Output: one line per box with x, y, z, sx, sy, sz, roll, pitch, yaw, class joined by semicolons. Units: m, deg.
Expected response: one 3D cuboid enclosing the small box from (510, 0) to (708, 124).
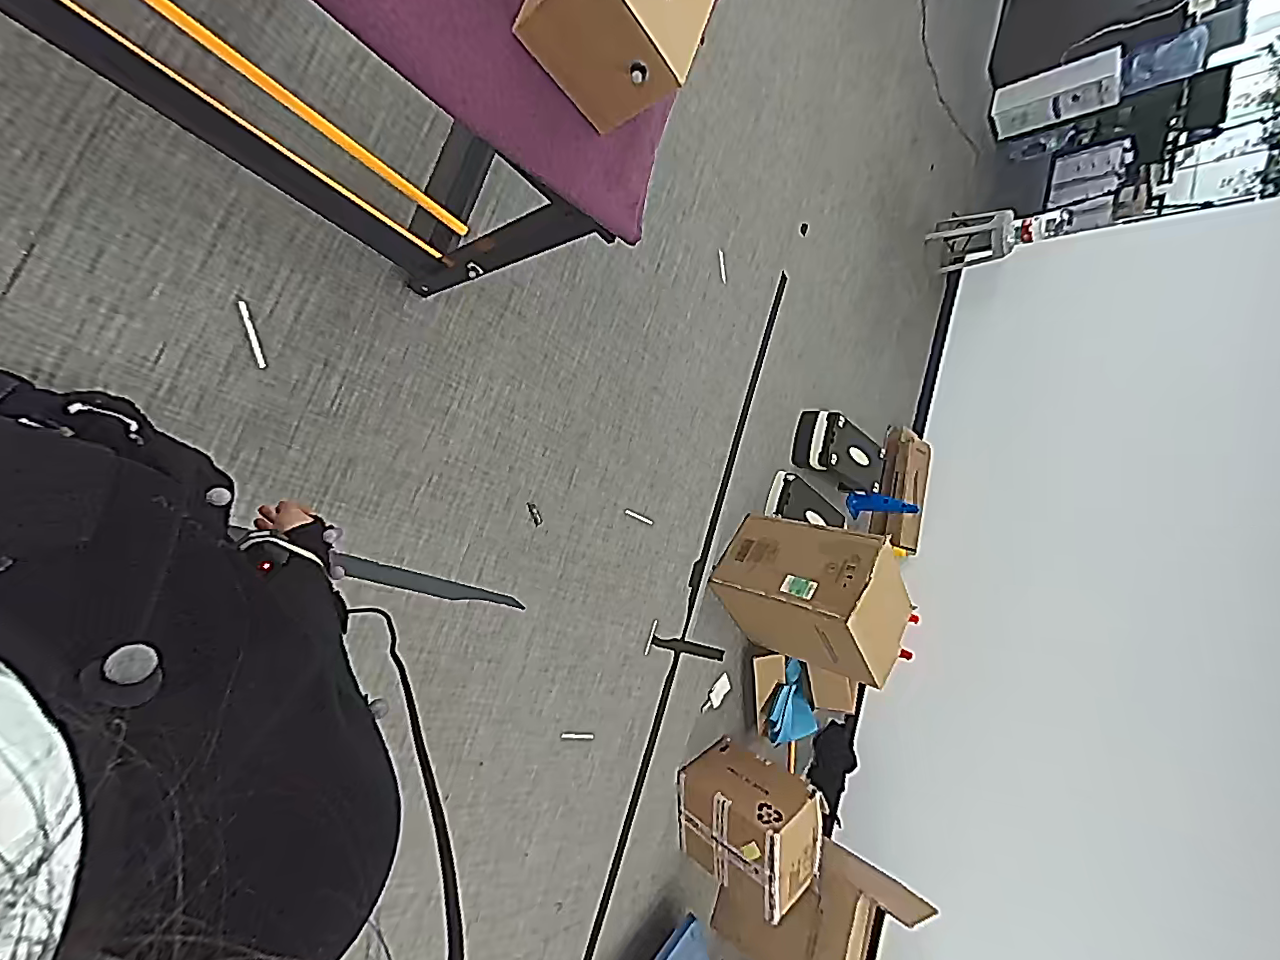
-0.040;-0.628;0.734;0.179;0.176;0.168;30;72;-43;small box
